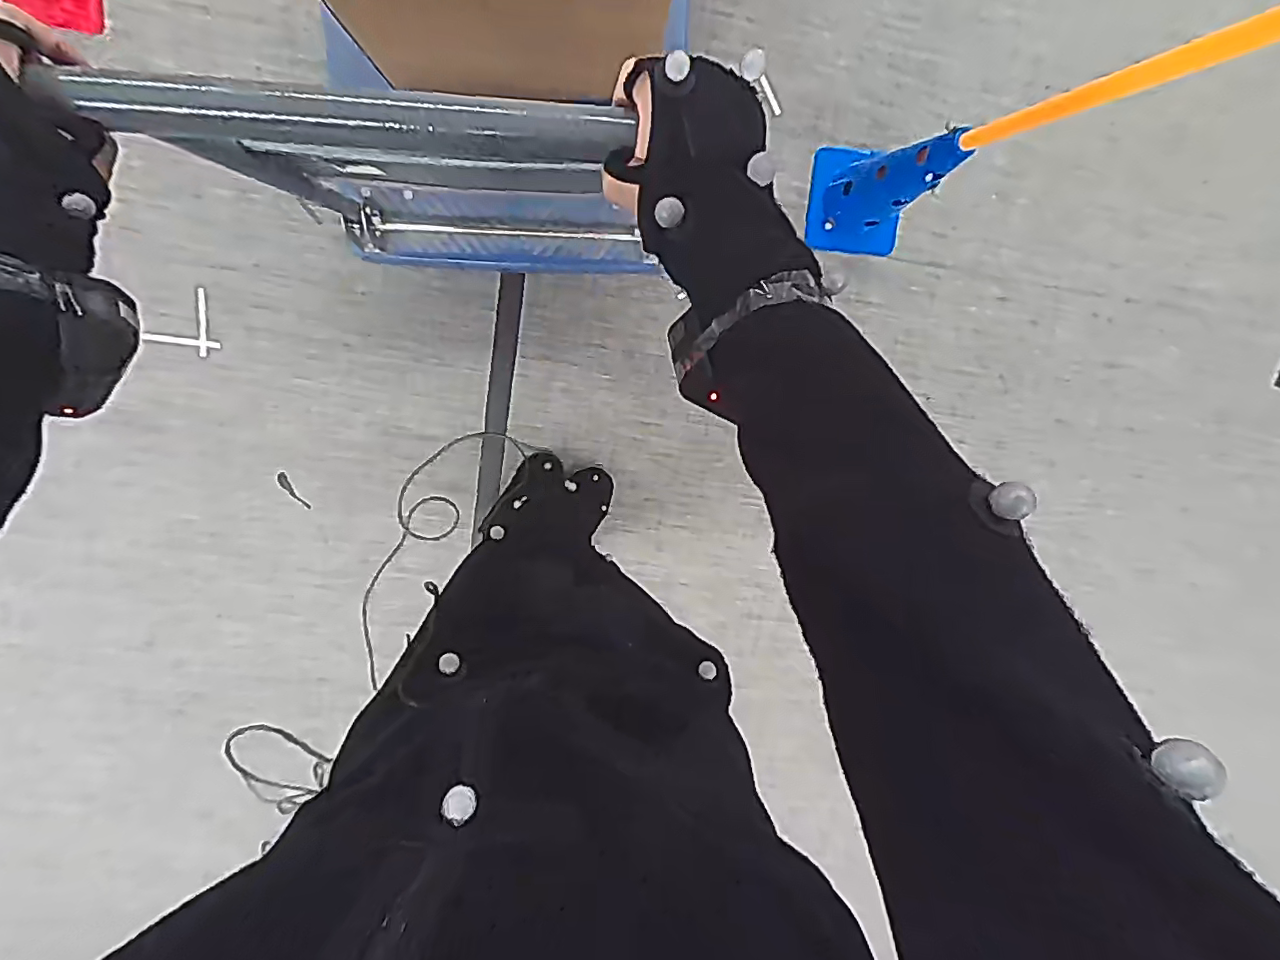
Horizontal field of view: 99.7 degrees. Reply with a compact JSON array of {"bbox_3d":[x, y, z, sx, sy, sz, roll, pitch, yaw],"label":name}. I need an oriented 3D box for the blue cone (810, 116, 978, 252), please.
[{"bbox_3d":[0.468,-0.550,0.981,0.193,0.380,0.192,3,103,-6],"label":"blue cone"}]
